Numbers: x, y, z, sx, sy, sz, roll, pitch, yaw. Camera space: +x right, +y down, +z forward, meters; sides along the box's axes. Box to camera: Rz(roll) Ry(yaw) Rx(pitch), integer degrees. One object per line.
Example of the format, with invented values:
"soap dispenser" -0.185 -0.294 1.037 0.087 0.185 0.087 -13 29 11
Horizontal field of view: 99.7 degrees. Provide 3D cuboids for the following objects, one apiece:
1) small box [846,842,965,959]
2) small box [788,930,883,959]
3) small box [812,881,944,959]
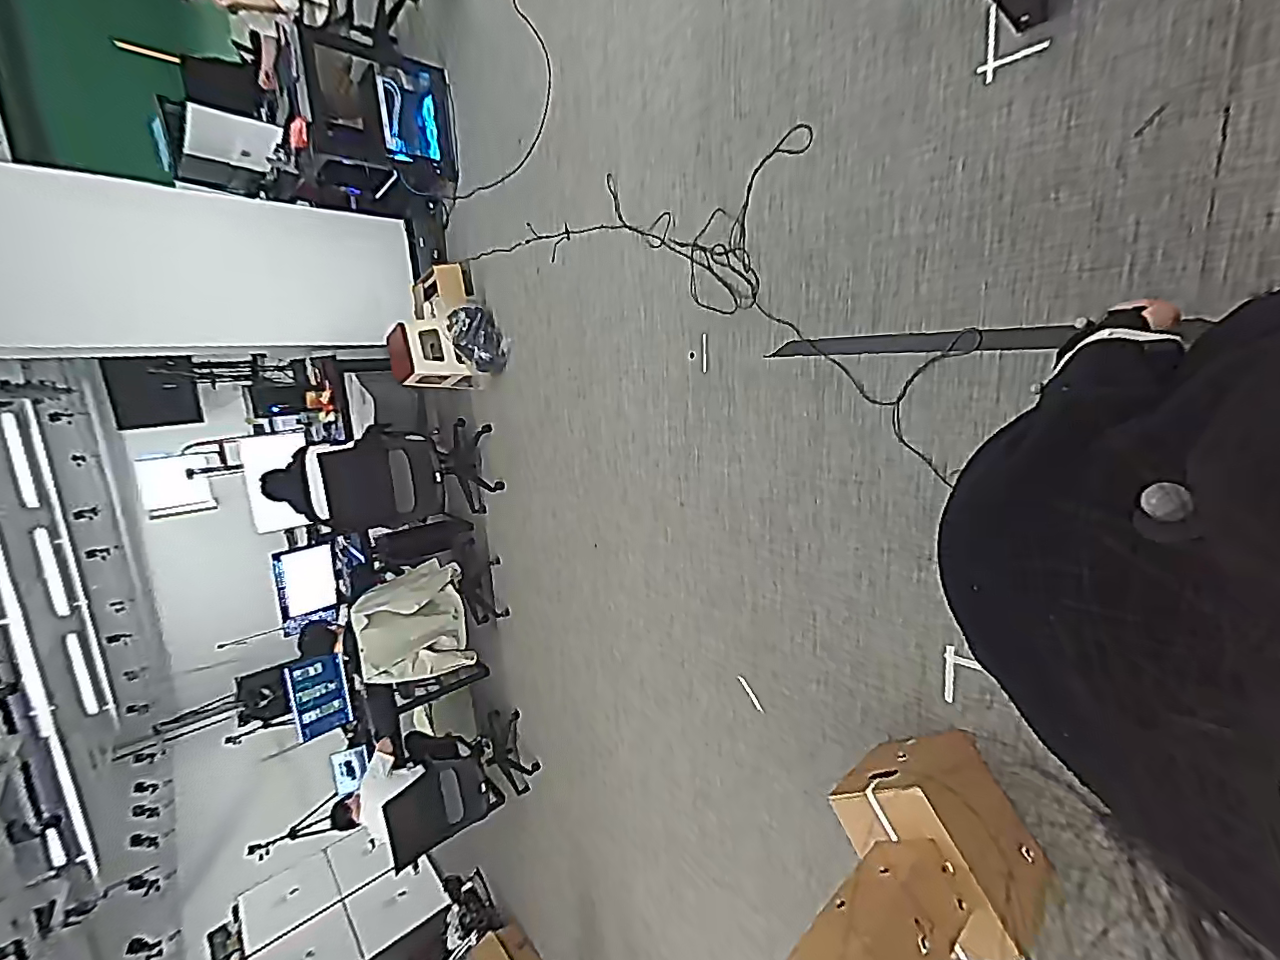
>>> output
"small box" 0.644 1.001 1.297 0.179 0.176 0.168 -46 65 46
"small box" 0.401 1.053 1.084 0.179 0.176 0.168 -43 68 46
"small box" 0.524 1.024 1.191 0.179 0.176 0.168 -42 69 45
